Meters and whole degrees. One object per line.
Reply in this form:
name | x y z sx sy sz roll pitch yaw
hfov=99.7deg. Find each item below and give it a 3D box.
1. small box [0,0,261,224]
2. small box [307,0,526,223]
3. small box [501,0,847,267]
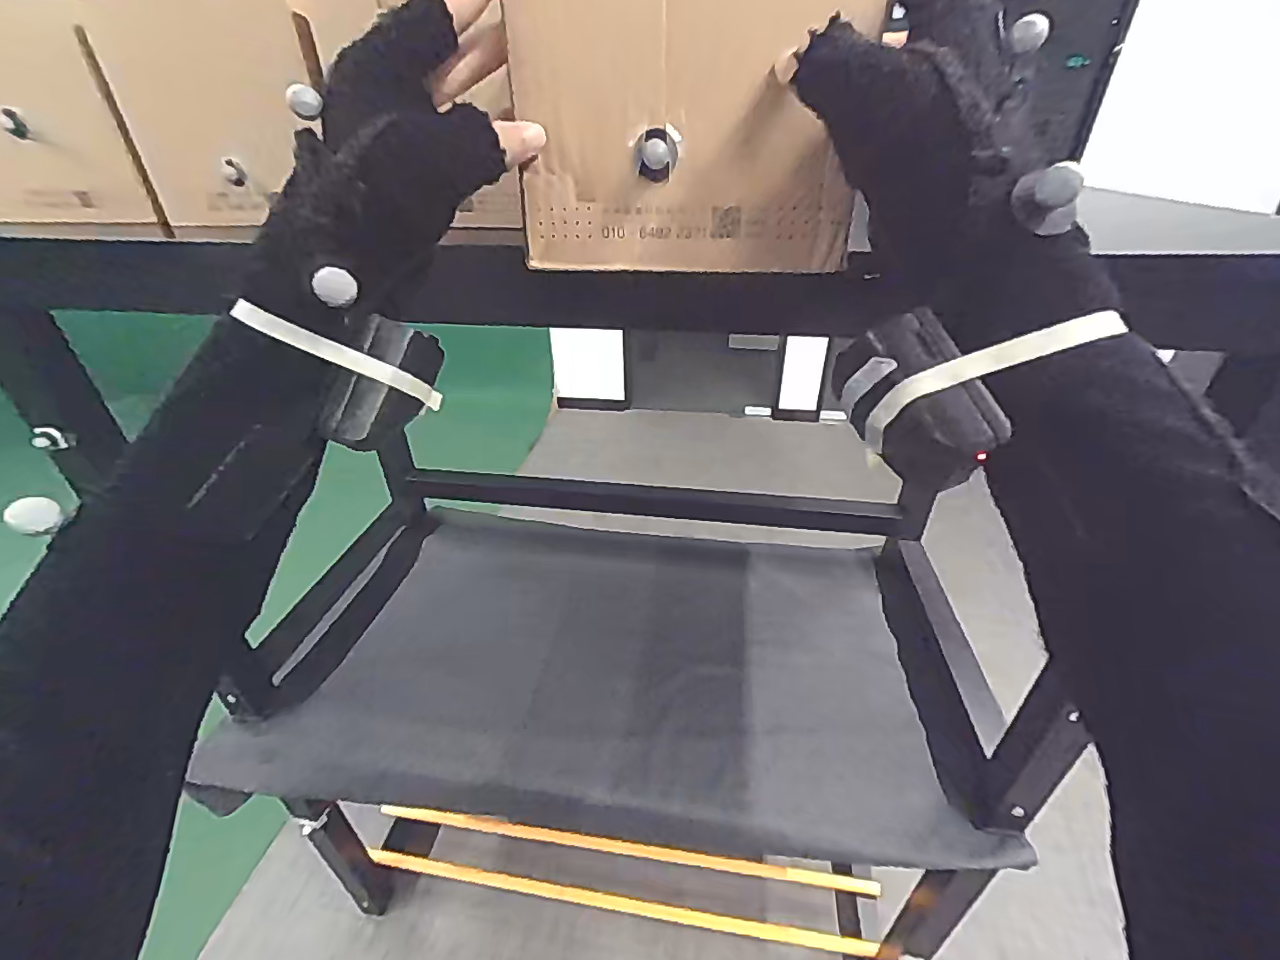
small box | -0.538 -0.363 0.555 0.168 0.176 0.179 2 31 1
small box | -0.158 -0.342 0.509 0.168 0.176 0.179 5 32 10
small box | 0.018 -0.235 0.332 0.168 0.176 0.179 2 31 4
